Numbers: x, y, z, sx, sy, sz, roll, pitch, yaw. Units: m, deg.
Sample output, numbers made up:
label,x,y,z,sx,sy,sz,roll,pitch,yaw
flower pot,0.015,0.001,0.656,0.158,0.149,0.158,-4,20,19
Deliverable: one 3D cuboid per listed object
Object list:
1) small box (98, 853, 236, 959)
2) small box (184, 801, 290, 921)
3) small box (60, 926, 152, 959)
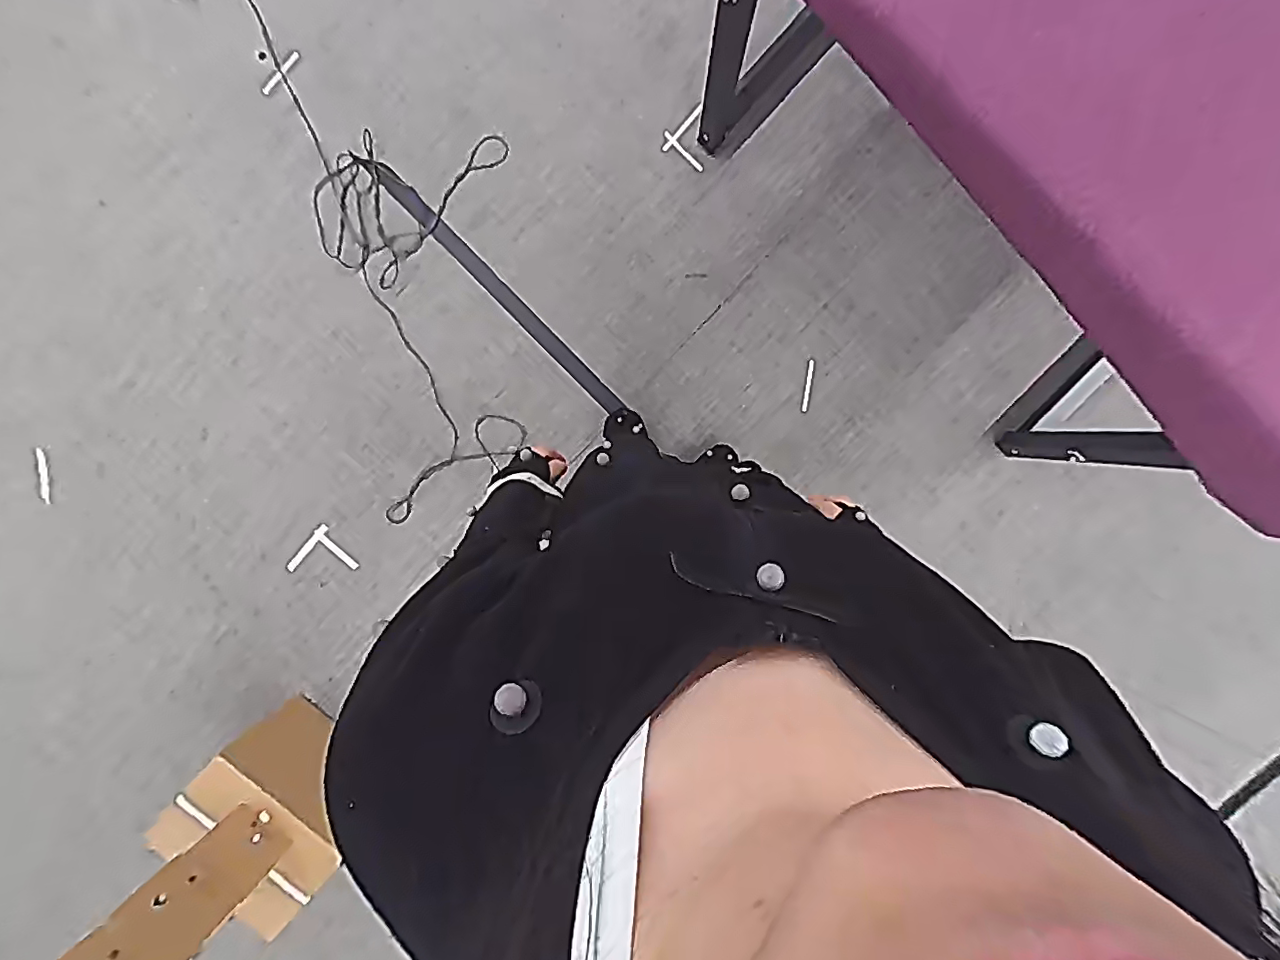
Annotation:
label,x,y,z,sx,sy,sz,roll,pitch,yaw
small box,-0.965,0.905,1.080,0.168,0.176,0.179,40,96,-1
small box,-0.961,0.897,1.242,0.168,0.176,0.179,41,94,-3
small box,-0.968,0.925,0.917,0.168,0.176,0.179,36,95,-1
